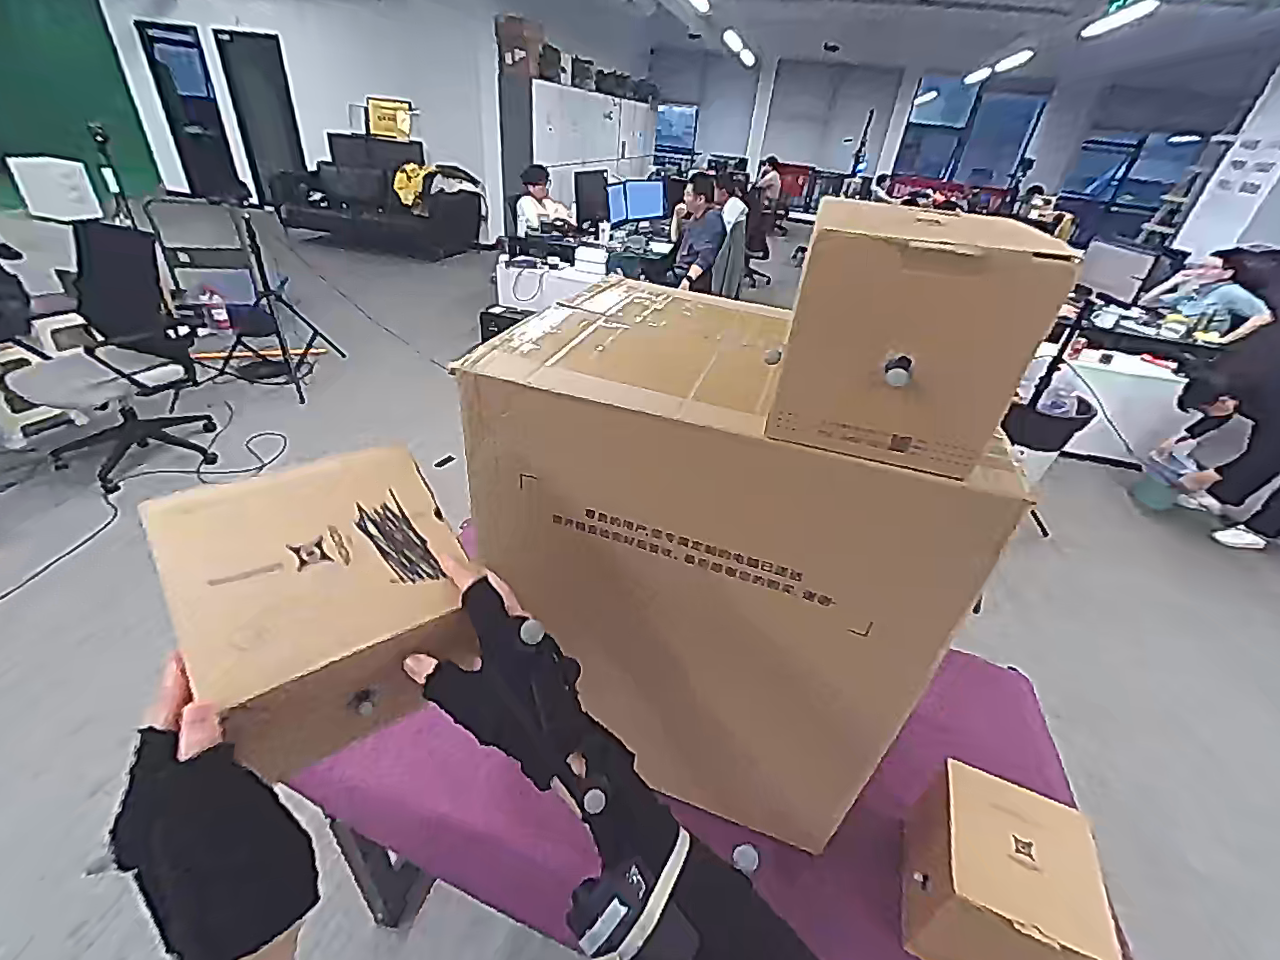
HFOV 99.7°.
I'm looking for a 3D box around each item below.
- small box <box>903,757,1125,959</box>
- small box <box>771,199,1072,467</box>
[{"bbox_3d":[0.446,0.502,0.680,0.168,0.176,0.179,18,33,17],"label":"small box"},{"bbox_3d":[0.215,-0.132,0.467,0.168,0.176,0.179,13,36,11],"label":"small box"}]
